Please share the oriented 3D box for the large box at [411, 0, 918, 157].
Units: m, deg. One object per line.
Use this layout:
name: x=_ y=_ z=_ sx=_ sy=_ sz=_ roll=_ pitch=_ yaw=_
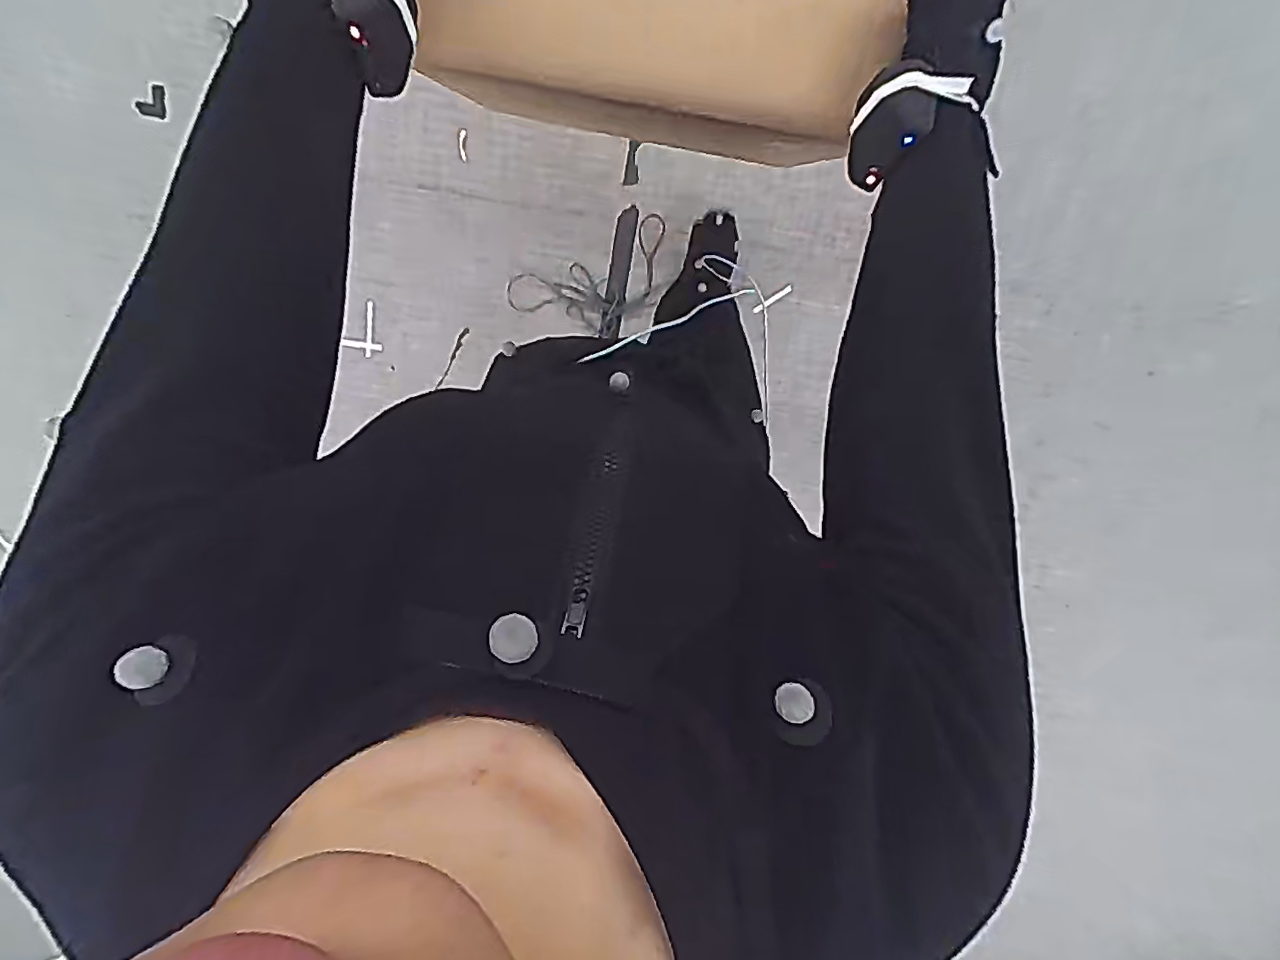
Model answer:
large box: x=0.029 y=-0.522 z=0.515 sx=0.408 sy=0.320 sz=0.320 roll=7 pitch=119 yaw=-5
